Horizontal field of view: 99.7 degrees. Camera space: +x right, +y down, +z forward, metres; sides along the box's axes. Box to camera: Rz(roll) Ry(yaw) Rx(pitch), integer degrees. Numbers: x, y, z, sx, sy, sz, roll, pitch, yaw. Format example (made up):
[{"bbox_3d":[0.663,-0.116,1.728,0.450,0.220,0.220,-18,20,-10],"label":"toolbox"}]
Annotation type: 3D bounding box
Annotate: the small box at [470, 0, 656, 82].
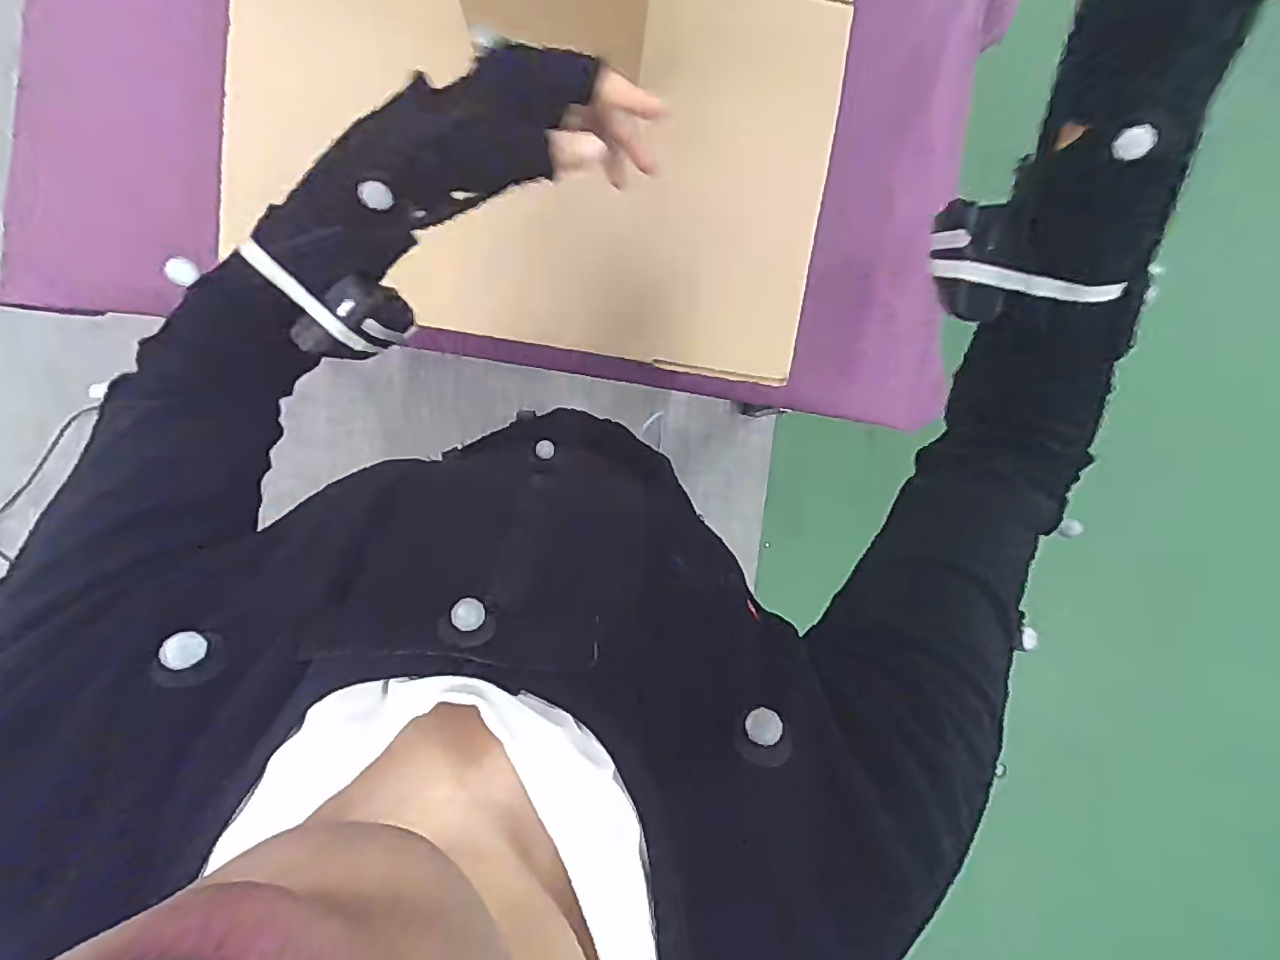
[{"bbox_3d":[-0.060,-0.486,0.458,0.168,0.176,0.179,6,93,-6],"label":"small box"}]
